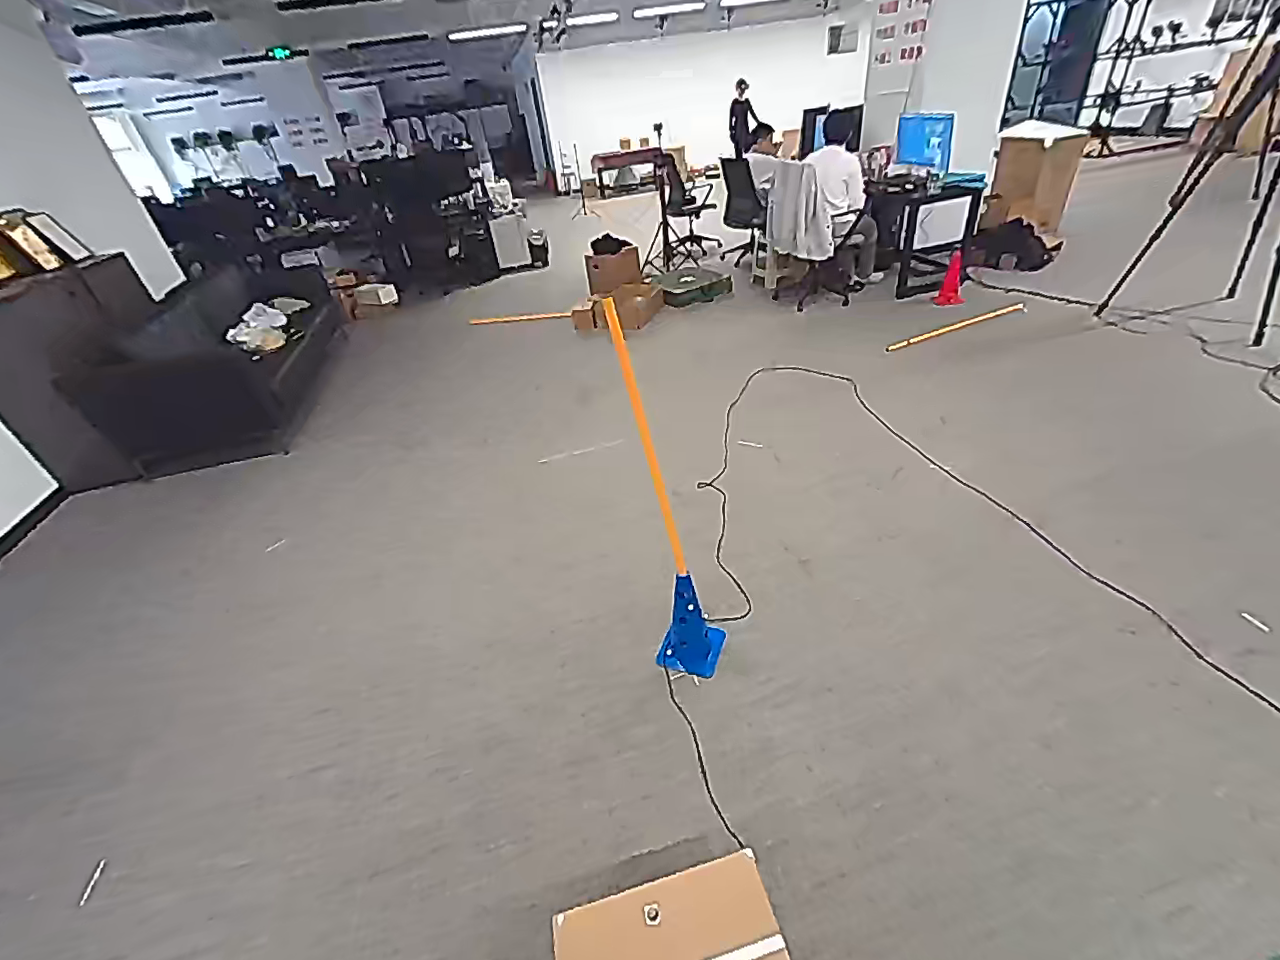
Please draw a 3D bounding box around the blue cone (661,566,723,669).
[{"bbox_3d":[0.156,0.422,1.740,0.192,0.380,0.193,5,38,20],"label":"blue cone"}]
